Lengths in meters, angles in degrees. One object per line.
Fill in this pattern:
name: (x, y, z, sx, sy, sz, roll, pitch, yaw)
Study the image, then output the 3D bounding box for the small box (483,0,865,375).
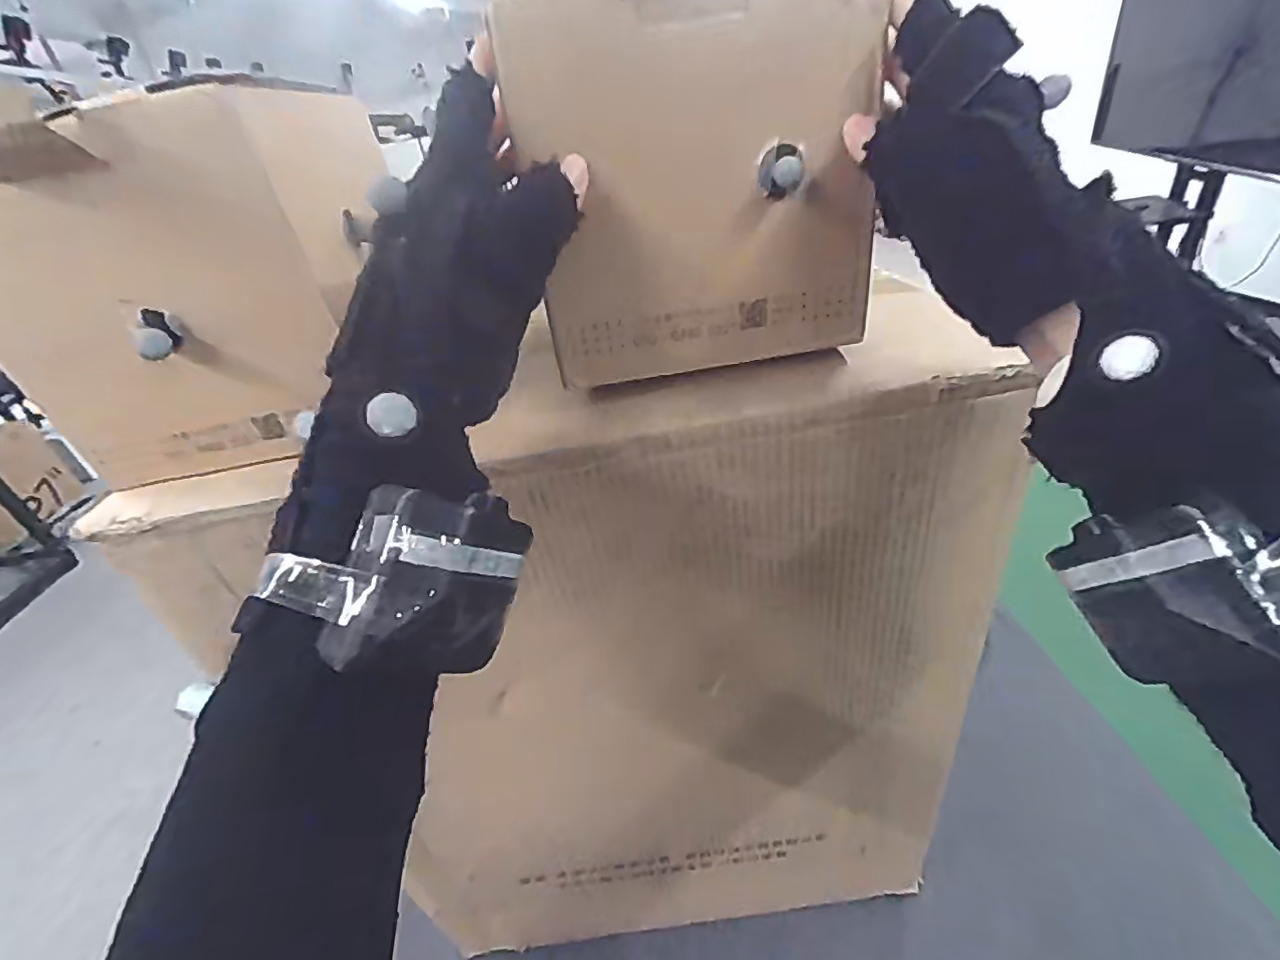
small box: (0.019, -0.169, 0.330, 0.168, 0.176, 0.179, -8, 30, -1)
